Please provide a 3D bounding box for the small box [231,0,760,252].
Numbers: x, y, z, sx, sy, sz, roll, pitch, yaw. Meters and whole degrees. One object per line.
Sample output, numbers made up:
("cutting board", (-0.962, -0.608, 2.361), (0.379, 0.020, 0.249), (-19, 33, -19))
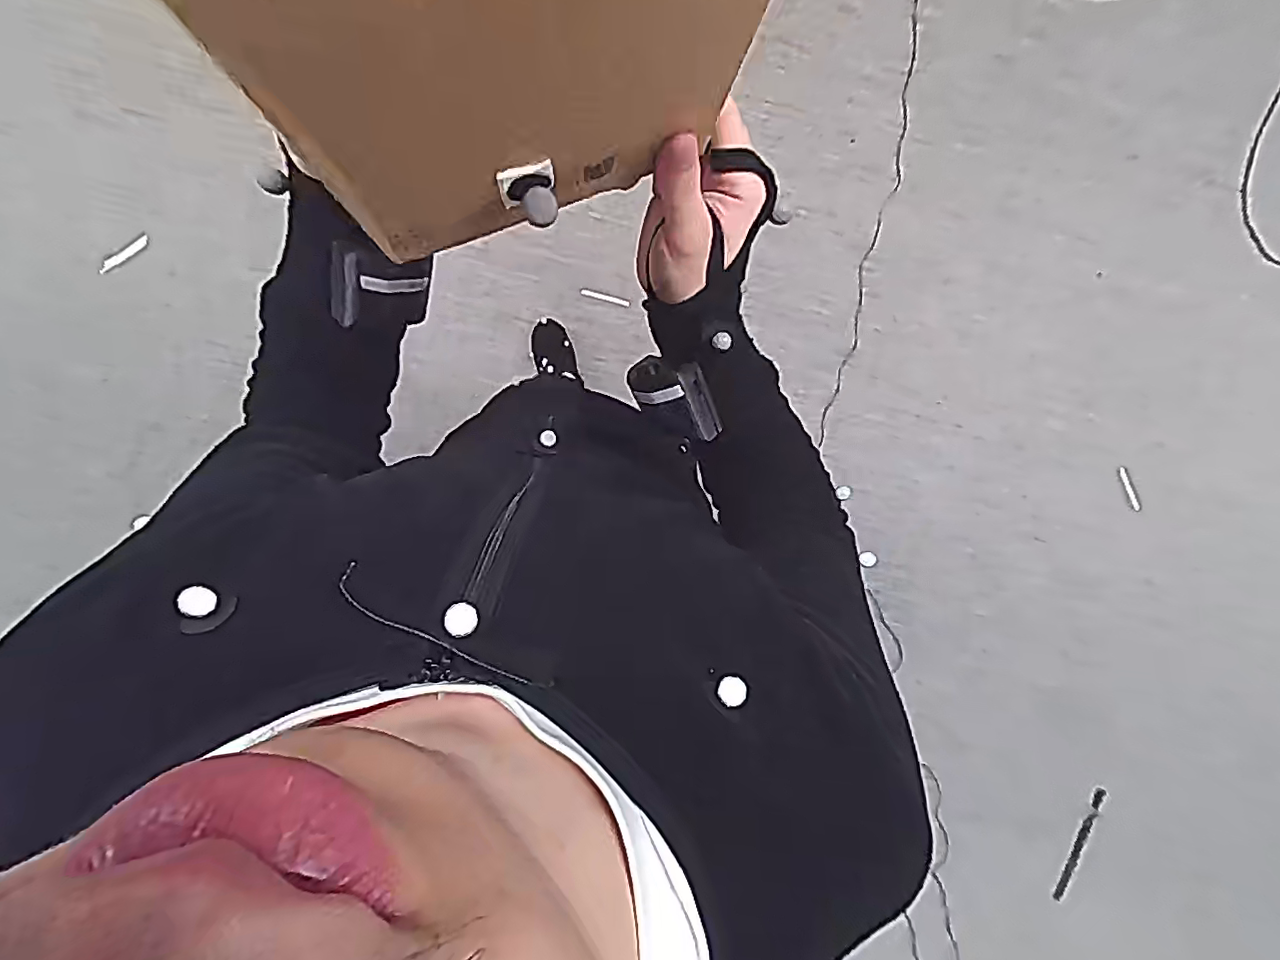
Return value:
("small box", (-0.064, -0.218, 0.195), (0.168, 0.176, 0.179), (-24, 95, -5))
